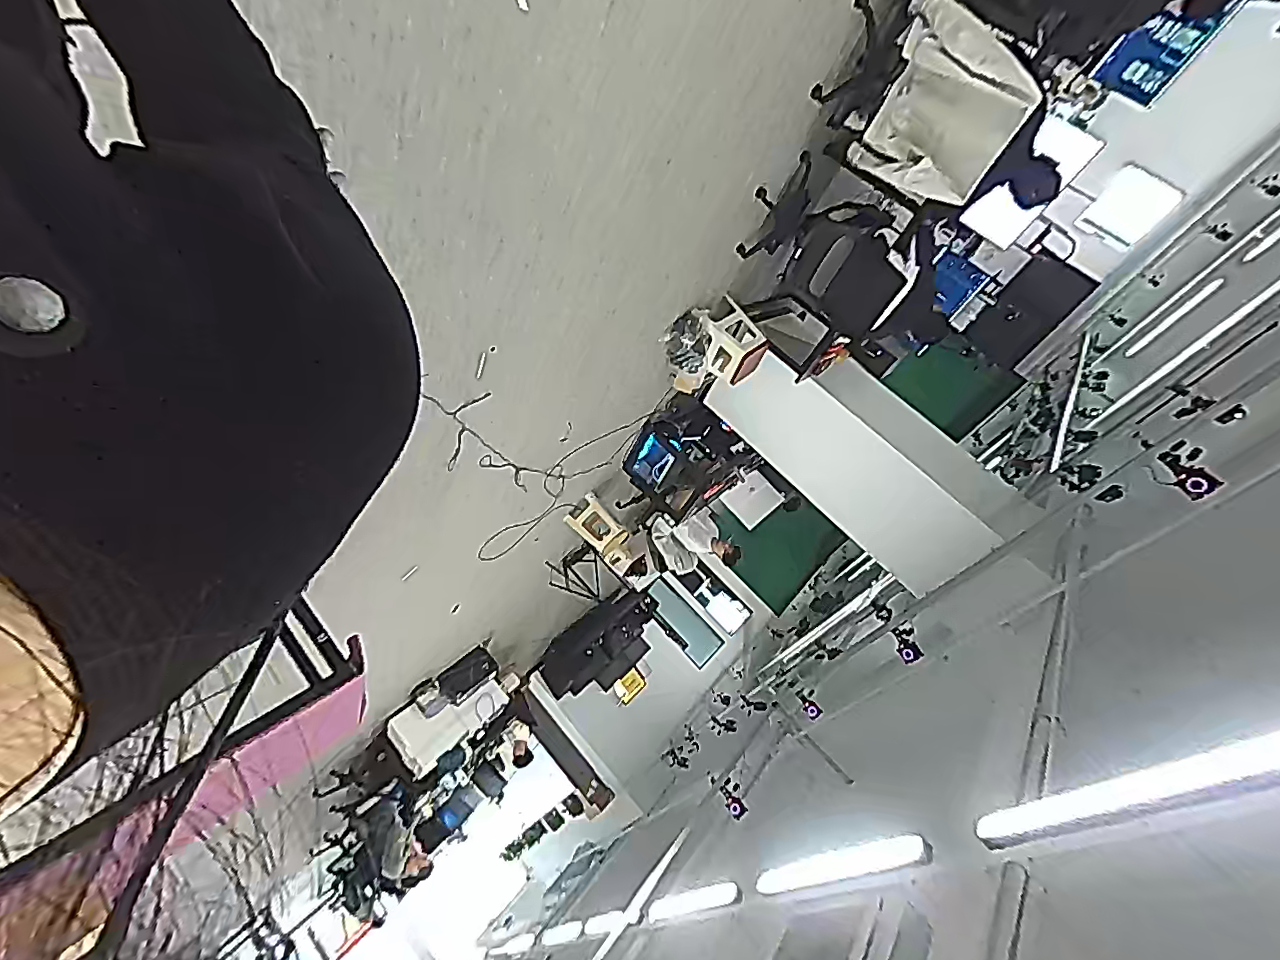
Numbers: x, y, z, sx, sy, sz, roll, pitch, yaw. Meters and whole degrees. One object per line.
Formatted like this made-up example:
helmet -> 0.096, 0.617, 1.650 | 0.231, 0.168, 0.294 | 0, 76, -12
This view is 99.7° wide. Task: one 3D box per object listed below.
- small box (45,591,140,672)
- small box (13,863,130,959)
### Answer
small box -> -1.813, 0.492, 1.792 | 0.168, 0.176, 0.179 | -28, 159, -46
small box -> -1.580, 1.222, 1.503 | 0.179, 0.176, 0.168 | -30, 160, -46
